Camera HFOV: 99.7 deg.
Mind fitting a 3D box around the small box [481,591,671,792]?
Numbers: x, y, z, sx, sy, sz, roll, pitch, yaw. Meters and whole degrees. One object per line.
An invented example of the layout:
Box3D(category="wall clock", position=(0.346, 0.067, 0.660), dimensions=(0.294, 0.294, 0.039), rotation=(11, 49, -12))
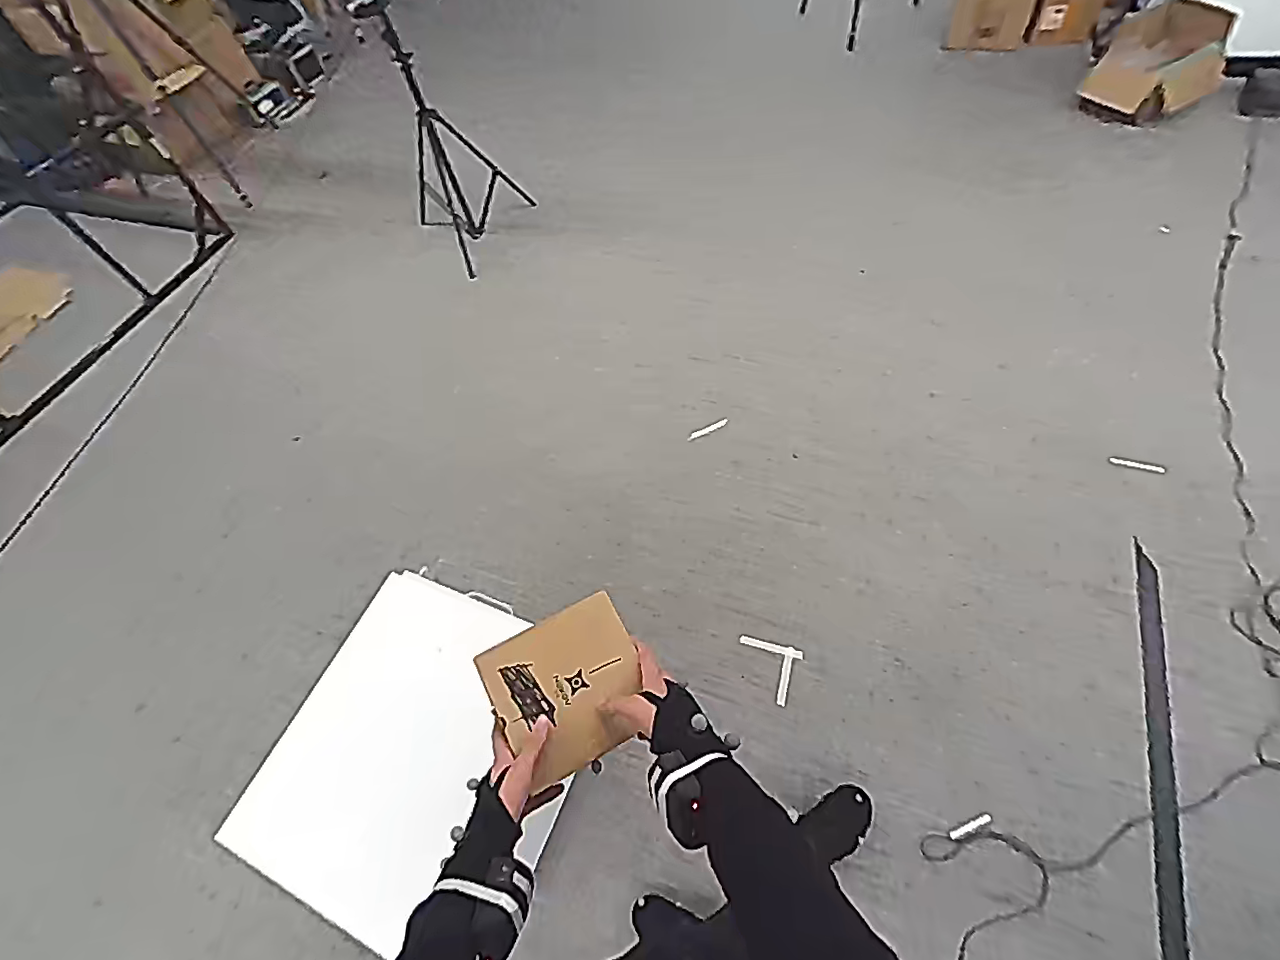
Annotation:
Box3D(category="small box", position=(-0.078, 0.273, 0.697), dimensions=(0.179, 0.176, 0.168), rotation=(-24, 67, -15))
